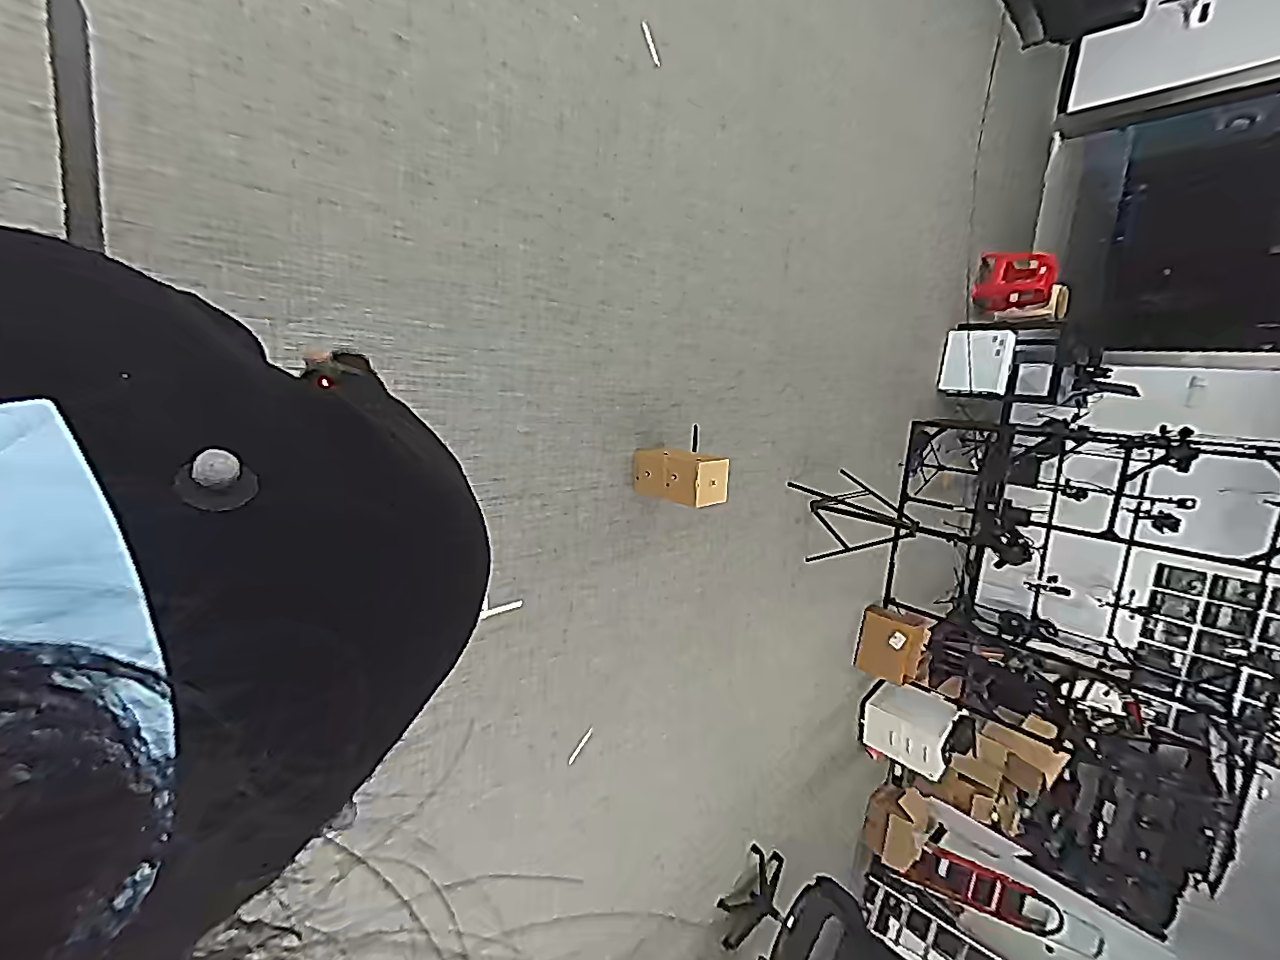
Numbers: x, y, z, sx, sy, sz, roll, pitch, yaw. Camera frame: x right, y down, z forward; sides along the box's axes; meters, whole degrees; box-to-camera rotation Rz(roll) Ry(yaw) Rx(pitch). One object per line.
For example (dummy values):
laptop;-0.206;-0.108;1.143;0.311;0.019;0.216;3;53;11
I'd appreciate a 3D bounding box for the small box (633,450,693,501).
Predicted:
small box;0.086;-0.023;2.122;0.179;0.176;0.168;-11;108;-43

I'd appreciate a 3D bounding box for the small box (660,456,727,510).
small box;0.198;0.005;2.008;0.179;0.176;0.168;-9;106;-42
